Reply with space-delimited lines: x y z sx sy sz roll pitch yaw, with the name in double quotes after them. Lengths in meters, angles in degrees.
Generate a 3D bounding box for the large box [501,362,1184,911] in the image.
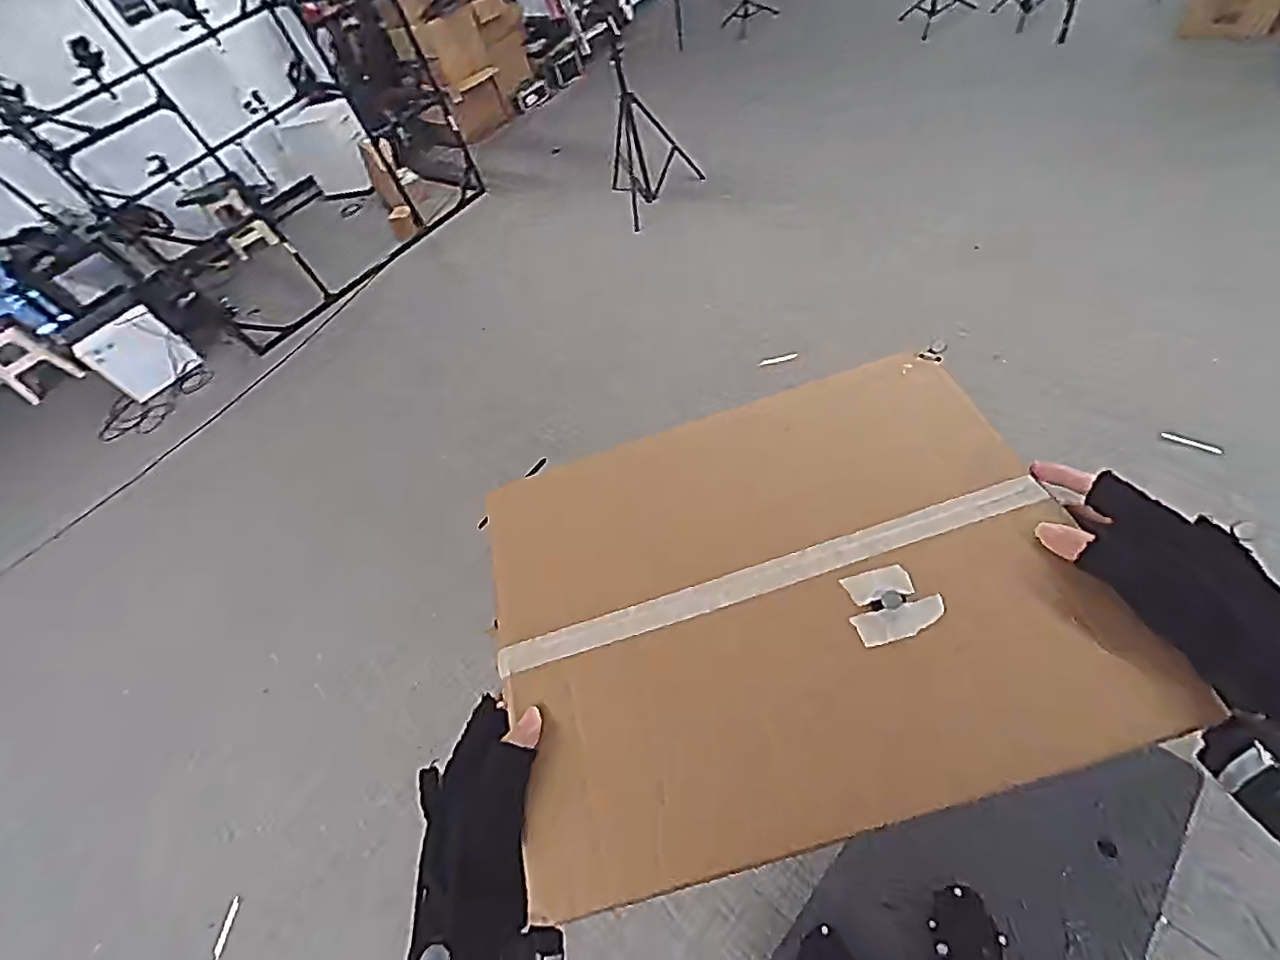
0.125 0.156 0.526 0.408 0.320 0.320 -18 56 2 "large box"
